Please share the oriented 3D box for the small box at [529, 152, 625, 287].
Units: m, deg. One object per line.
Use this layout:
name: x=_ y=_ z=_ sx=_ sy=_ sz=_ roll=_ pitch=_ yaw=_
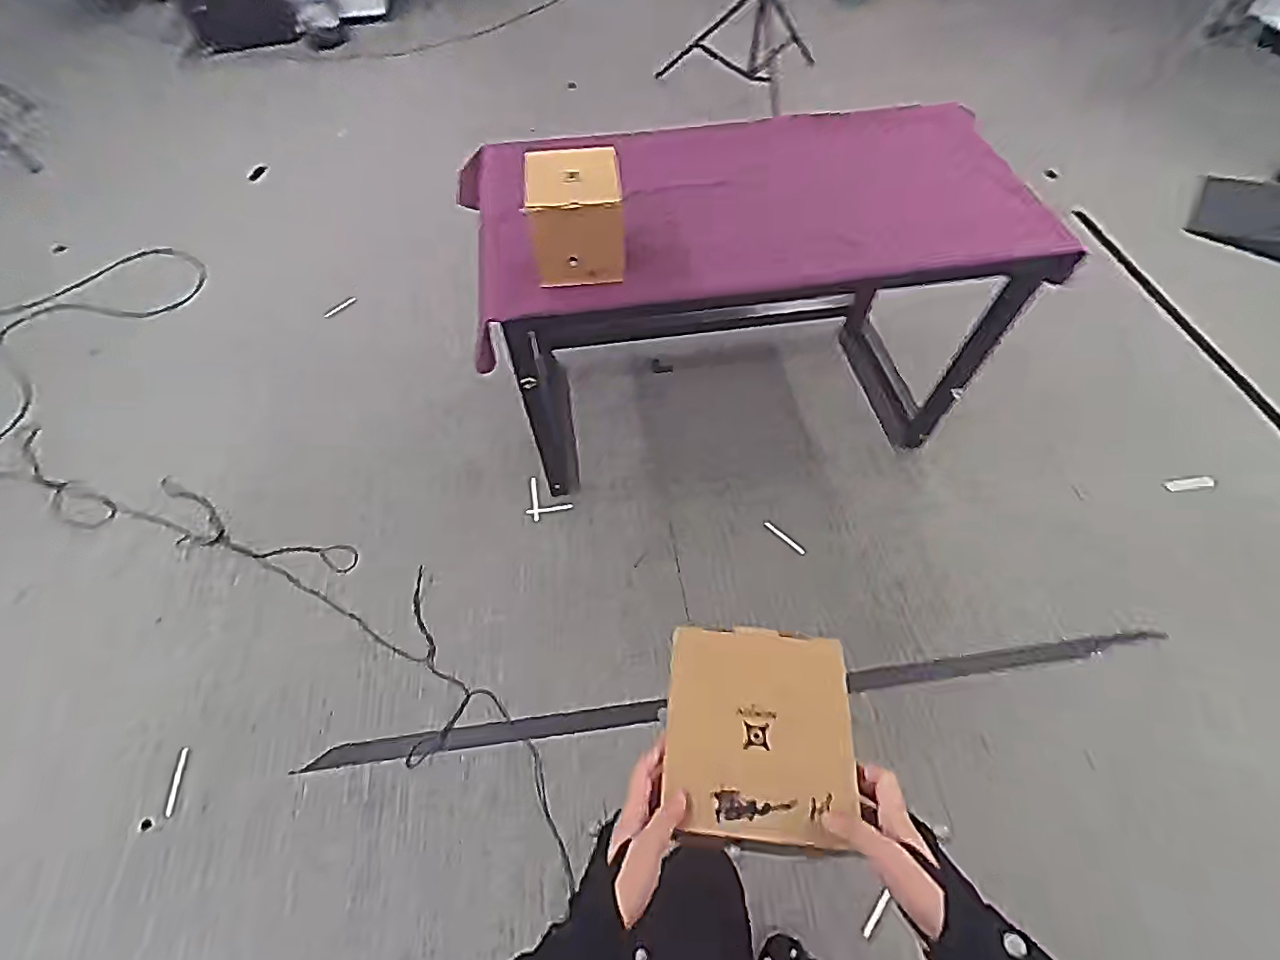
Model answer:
small box: x=-0.117 y=-0.496 z=1.036 sx=0.168 sy=0.176 sz=0.179 roll=-5 pitch=60 yaw=-3
